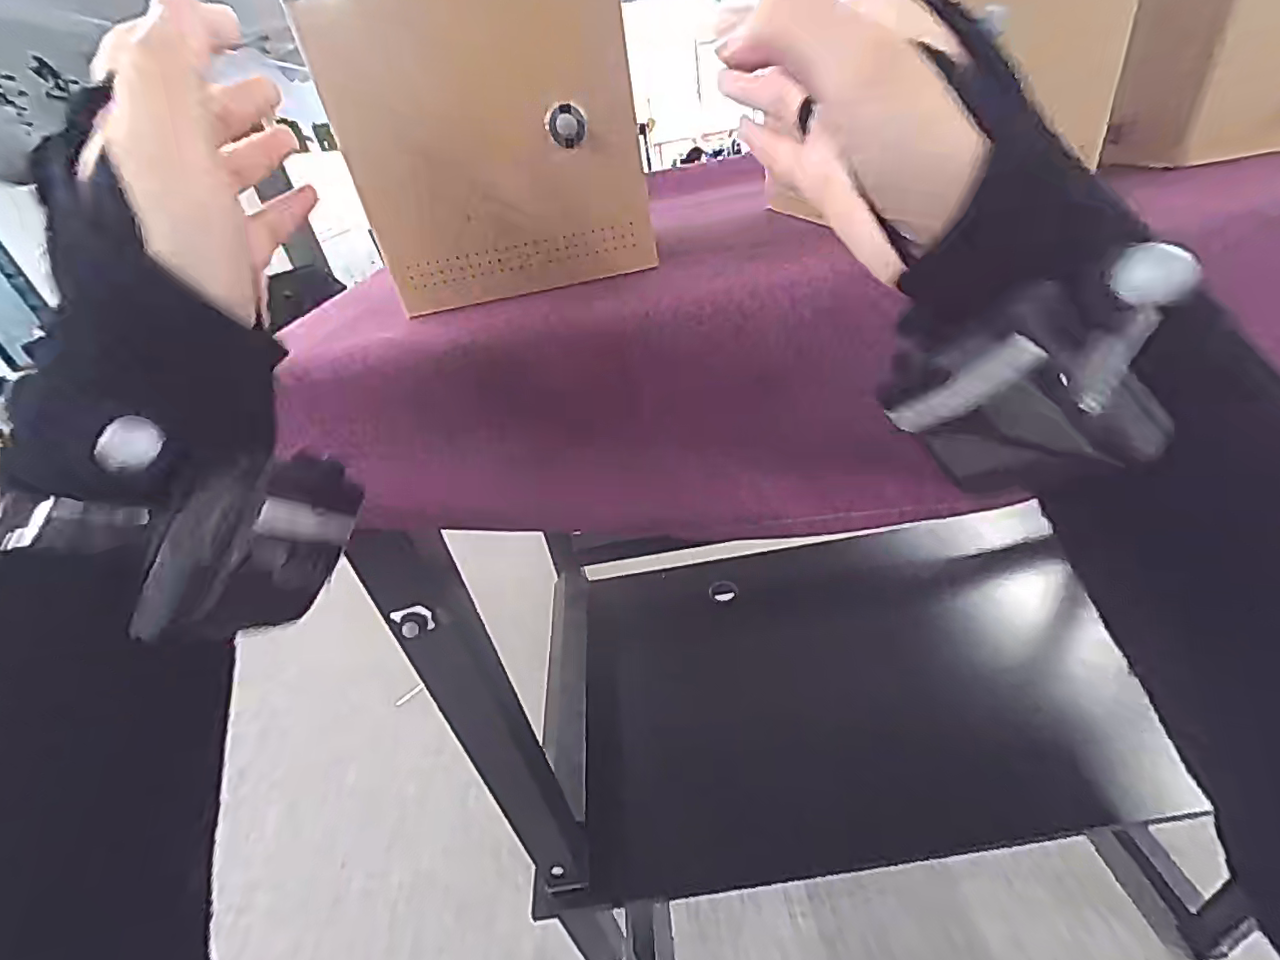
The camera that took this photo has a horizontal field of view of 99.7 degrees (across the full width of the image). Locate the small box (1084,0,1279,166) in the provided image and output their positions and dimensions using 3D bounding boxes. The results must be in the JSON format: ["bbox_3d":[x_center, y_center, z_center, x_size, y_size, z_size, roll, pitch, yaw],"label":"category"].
[{"bbox_3d":[0.419,-0.329,0.370,0.179,0.176,0.168,-8,32,4],"label":"small box"}]

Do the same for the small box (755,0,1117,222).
[{"bbox_3d":[0.190,-0.290,0.379,0.168,0.176,0.179,-12,32,-2],"label":"small box"}]

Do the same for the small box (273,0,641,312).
[{"bbox_3d":[-0.100,-0.235,0.383,0.179,0.176,0.168,-13,32,-3],"label":"small box"}]
